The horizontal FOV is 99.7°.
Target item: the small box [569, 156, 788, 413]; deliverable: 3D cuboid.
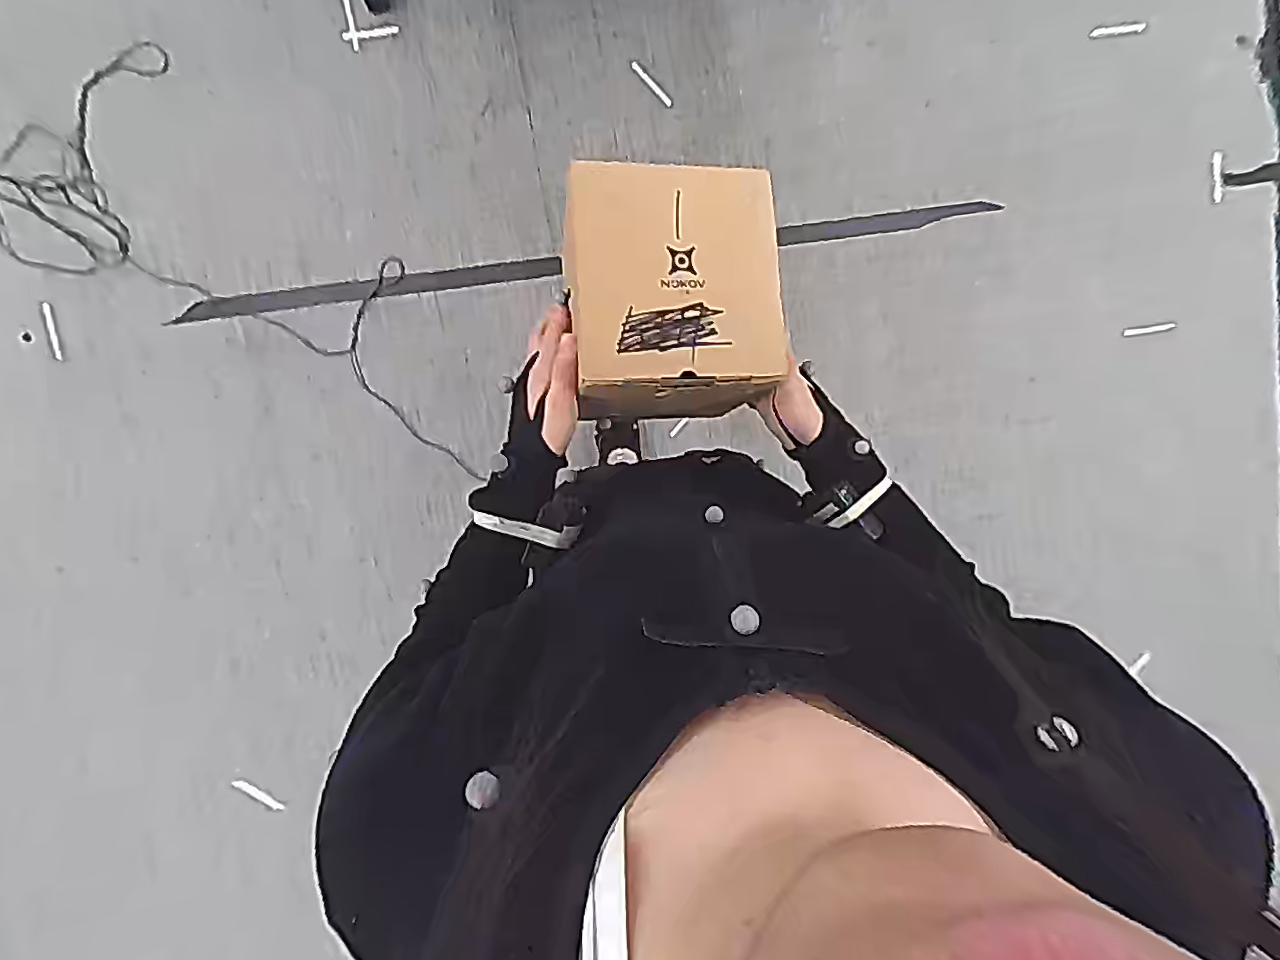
[{"bbox_3d":[0.022,-0.160,0.501,0.168,0.176,0.179,-2,85,-10],"label":"small box"}]
